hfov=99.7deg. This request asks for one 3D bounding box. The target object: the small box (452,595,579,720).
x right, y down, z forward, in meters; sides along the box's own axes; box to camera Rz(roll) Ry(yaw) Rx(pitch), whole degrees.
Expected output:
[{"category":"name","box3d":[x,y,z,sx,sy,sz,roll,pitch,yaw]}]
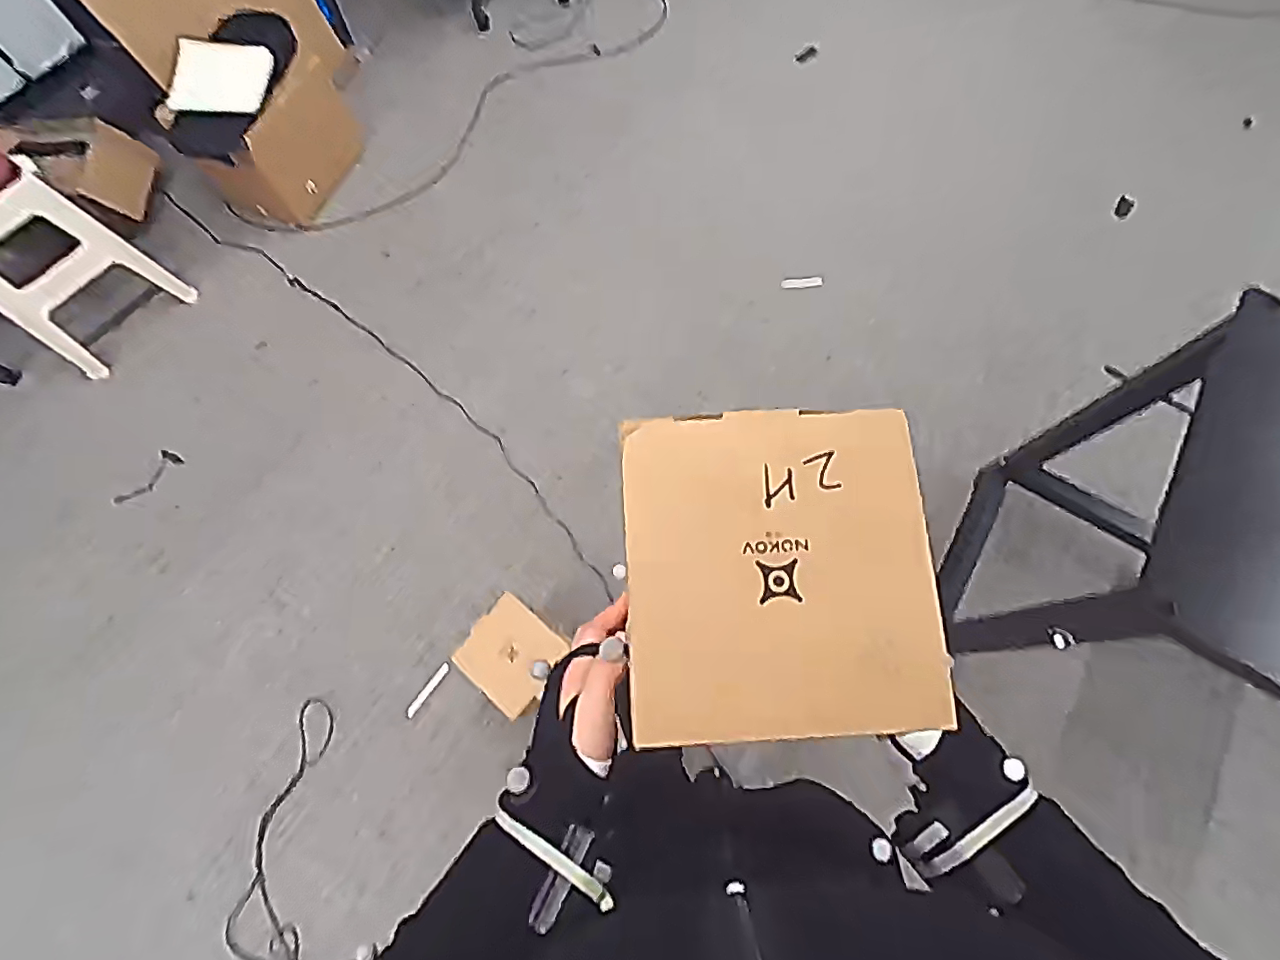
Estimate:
[{"category":"small box","box3d":[-0.245,0.364,1.109,0.179,0.176,0.168,38,74,12]}]

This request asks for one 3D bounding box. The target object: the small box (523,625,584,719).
[{"category":"small box","box3d":[-0.246,0.428,1.260,0.168,0.176,0.179,33,73,11]}]

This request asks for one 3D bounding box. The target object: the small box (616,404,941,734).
[{"category":"small box","box3d":[0.072,0.061,0.376,0.168,0.176,0.179,-3,76,-1]}]
